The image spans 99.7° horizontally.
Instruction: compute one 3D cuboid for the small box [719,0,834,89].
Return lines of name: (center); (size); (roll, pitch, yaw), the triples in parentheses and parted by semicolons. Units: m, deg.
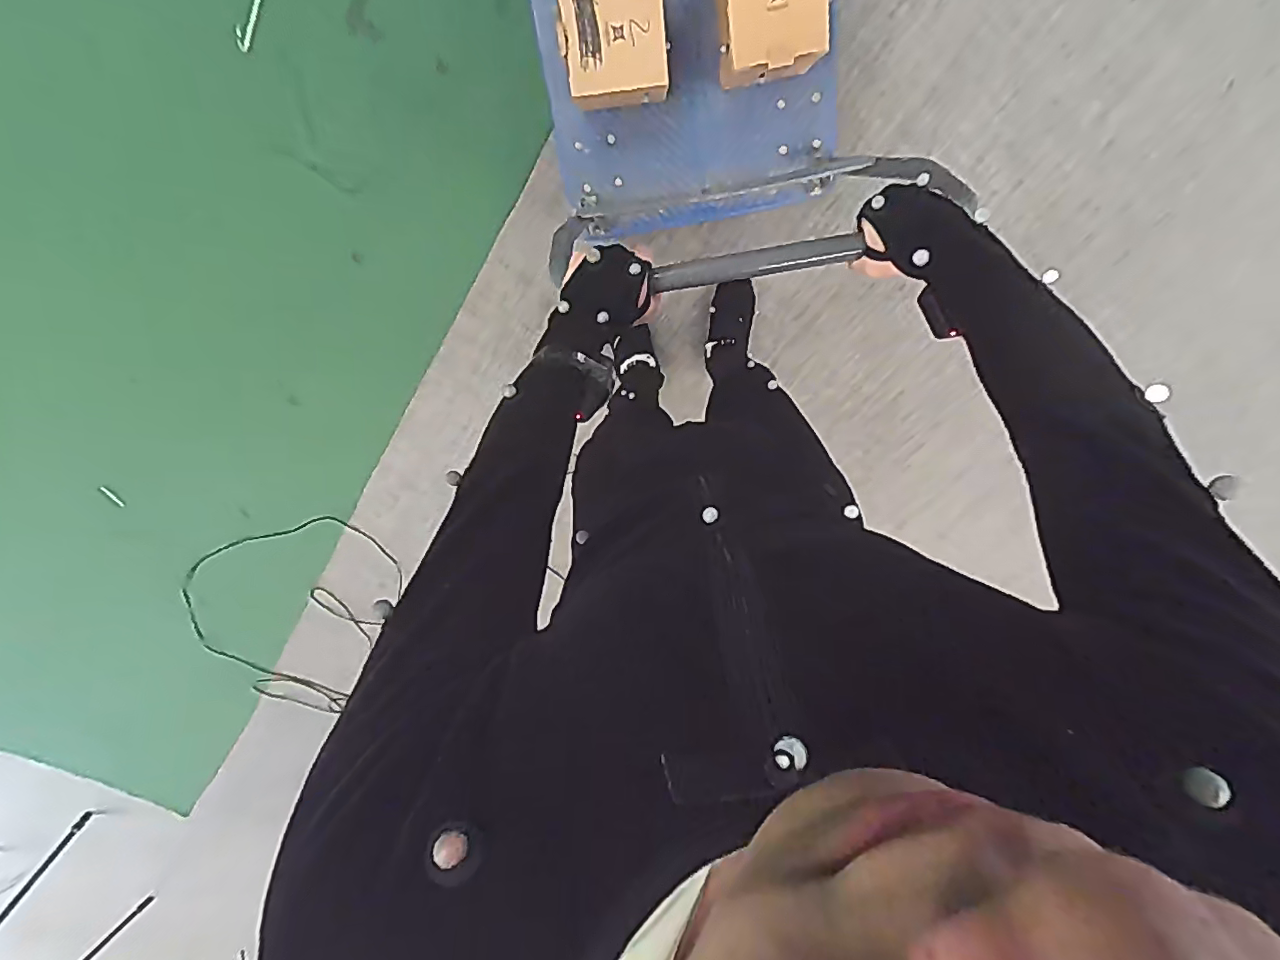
small box: (0.236, -0.827, 0.959); (0.168, 0.176, 0.179); (-8, 118, 6)
